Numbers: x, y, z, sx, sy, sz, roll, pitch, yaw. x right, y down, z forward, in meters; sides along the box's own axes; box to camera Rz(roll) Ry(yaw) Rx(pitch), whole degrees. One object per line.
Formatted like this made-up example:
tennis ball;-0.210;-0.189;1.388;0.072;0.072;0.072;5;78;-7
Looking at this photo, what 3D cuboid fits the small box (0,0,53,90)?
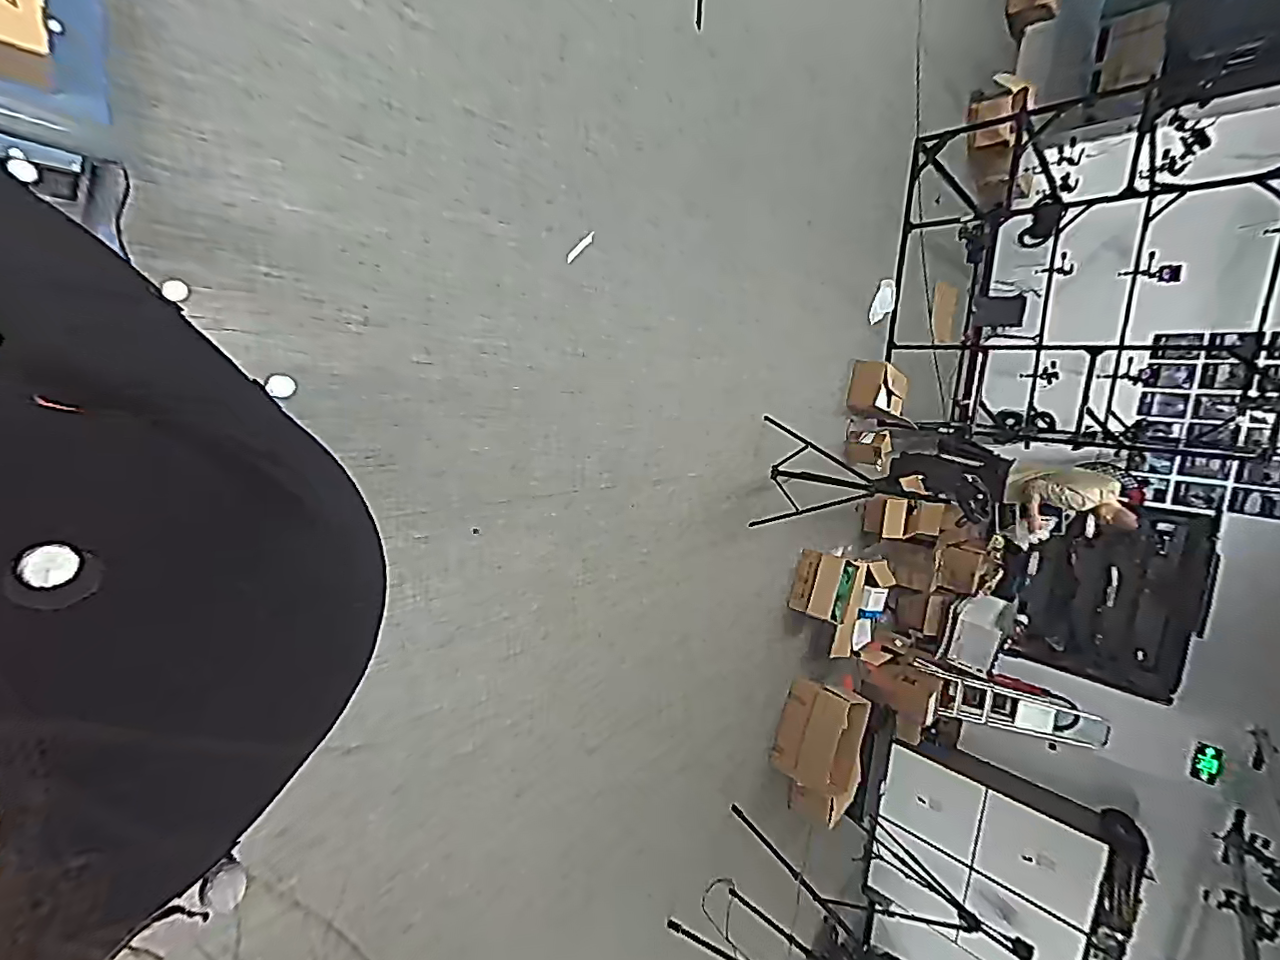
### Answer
small box;-0.926;-0.663;0.723;0.179;0.176;0.168;-8;105;-46
